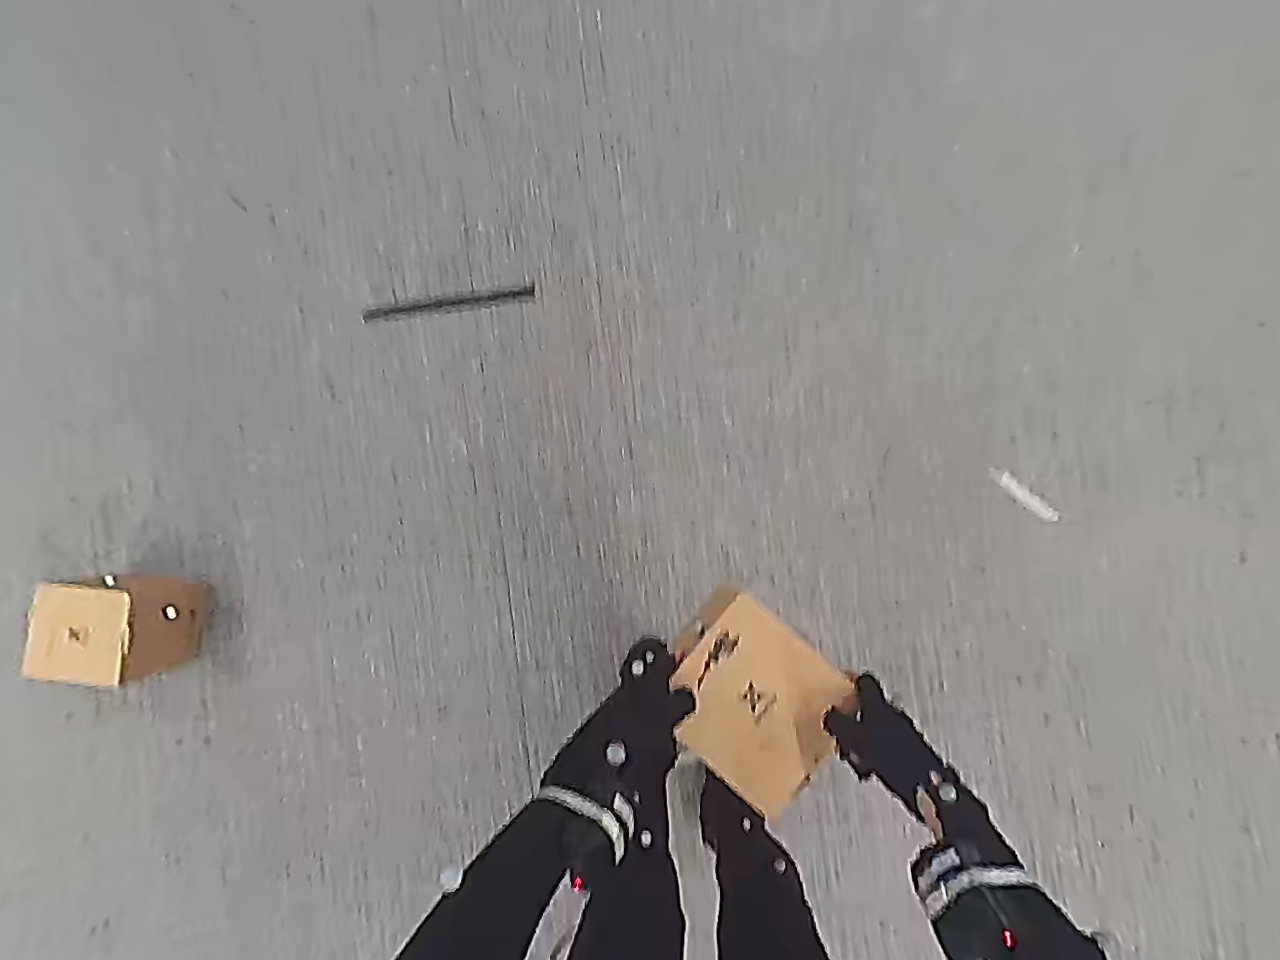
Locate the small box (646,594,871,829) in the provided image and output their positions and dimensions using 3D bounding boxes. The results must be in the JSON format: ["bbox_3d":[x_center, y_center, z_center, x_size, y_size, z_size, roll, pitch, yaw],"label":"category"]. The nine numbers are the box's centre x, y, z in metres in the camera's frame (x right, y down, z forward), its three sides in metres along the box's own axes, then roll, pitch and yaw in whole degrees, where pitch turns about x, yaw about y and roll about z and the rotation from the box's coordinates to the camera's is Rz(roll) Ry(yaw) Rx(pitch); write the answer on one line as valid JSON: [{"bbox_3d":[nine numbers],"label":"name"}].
[{"bbox_3d":[0.124,0.248,0.636,0.179,0.176,0.168,40,83,6],"label":"small box"}]

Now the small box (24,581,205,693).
[{"bbox_3d":[-0.982,0.289,1.029,0.179,0.176,0.168,5,85,1],"label":"small box"}]
